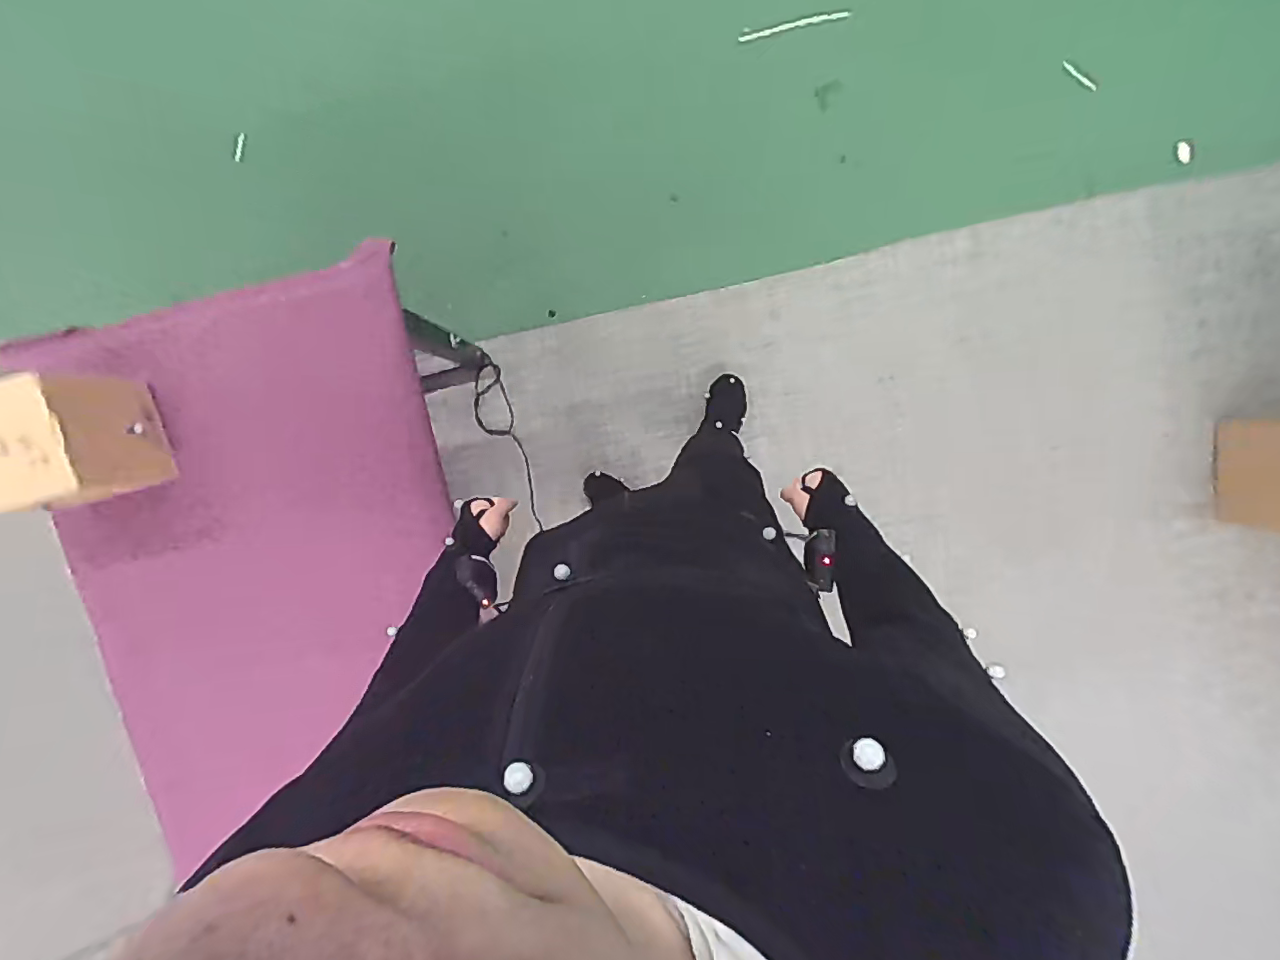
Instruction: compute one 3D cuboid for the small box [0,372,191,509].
[{"bbox_3d":[-0.863,-0.061,0.836,0.179,0.176,0.168,-14,97,2],"label":"small box"}]
